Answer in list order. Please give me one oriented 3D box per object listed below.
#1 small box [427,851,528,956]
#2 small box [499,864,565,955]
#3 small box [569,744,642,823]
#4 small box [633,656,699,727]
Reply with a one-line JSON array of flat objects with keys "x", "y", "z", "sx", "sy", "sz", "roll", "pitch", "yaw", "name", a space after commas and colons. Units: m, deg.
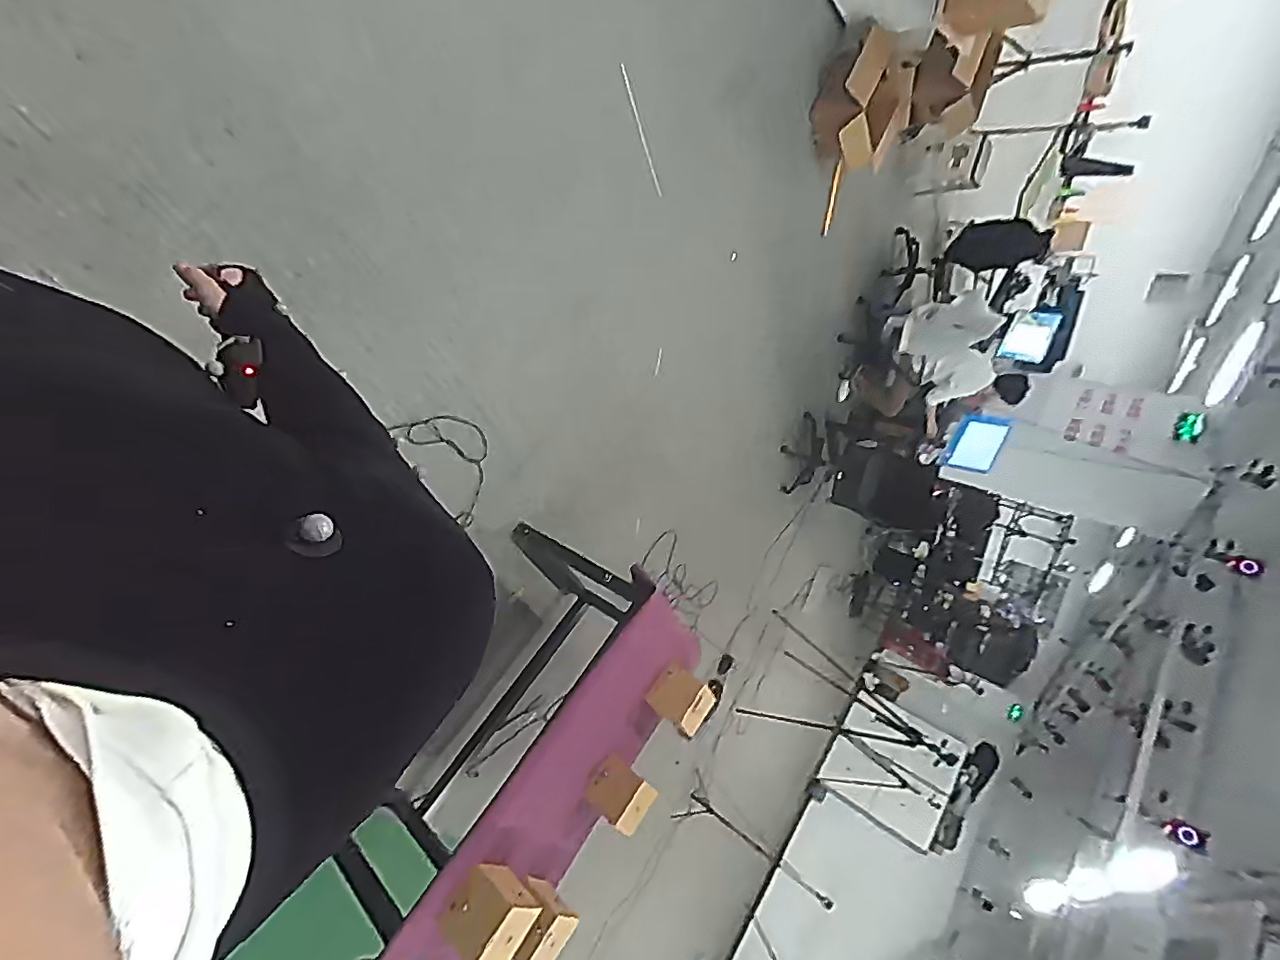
[{"x": -0.456, "y": 1.183, "z": 1.519, "sx": 0.168, "sy": 0.176, "sz": 0.179, "roll": -53, "pitch": 144, "yaw": -22, "name": "small box"}, {"x": -0.378, "y": 1.378, "z": 1.741, "sx": 0.168, "sy": 0.176, "sz": 0.179, "roll": -51, "pitch": 143, "yaw": -23, "name": "small box"}, {"x": -0.122, "y": 1.072, "z": 1.918, "sx": 0.168, "sy": 0.176, "sz": 0.179, "roll": -50, "pitch": 141, "yaw": -25, "name": "small box"}, {"x": 0.097, "y": 0.795, "z": 2.051, "sx": 0.168, "sy": 0.176, "sz": 0.179, "roll": -50, "pitch": 142, "yaw": -23, "name": "small box"}]
